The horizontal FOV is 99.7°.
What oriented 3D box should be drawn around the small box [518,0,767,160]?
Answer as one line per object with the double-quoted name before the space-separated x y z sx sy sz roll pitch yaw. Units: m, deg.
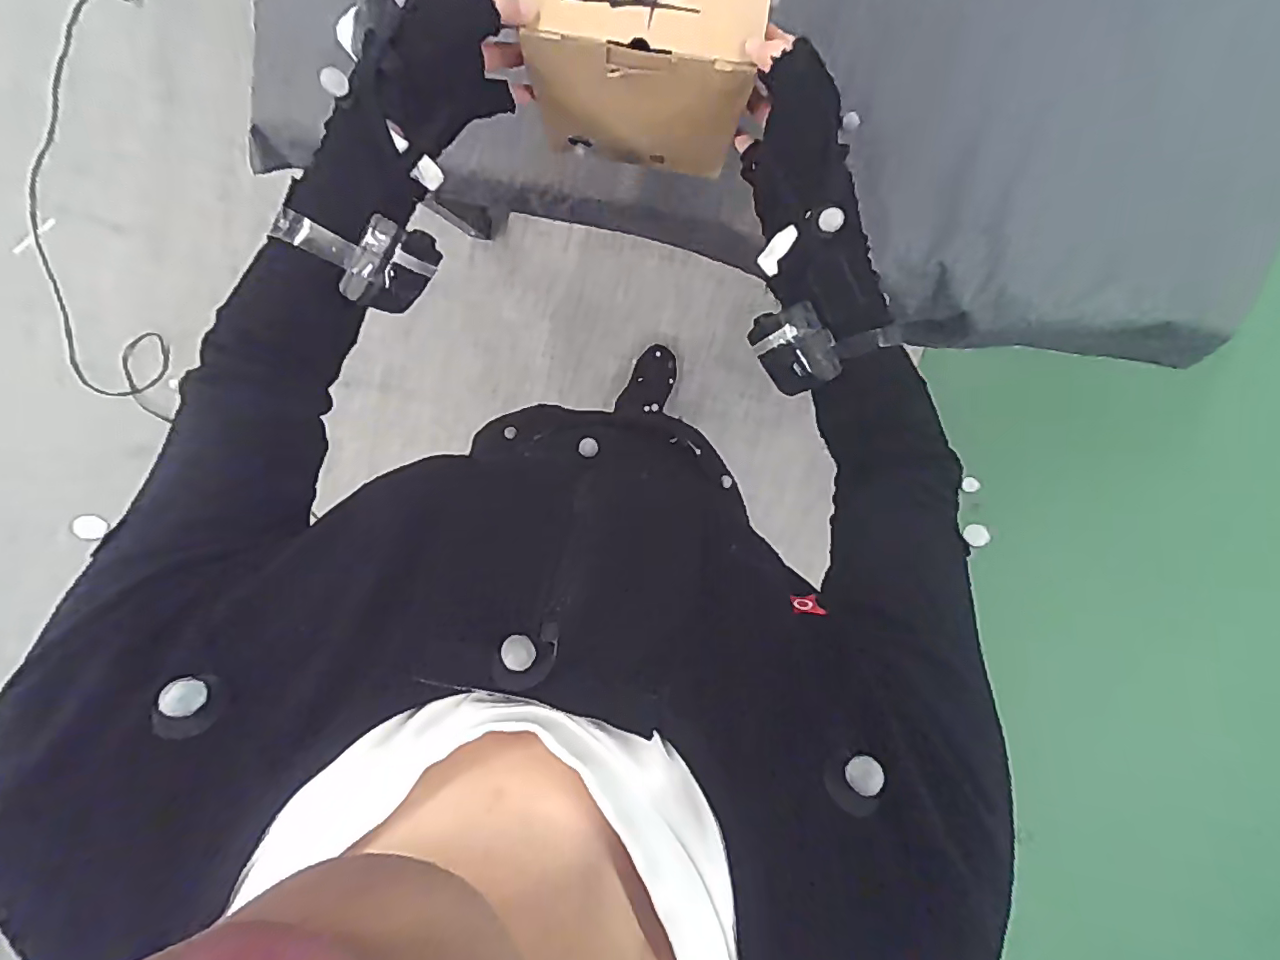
"small box" 0.009 -0.386 0.426 0.168 0.176 0.179 7 96 -3
